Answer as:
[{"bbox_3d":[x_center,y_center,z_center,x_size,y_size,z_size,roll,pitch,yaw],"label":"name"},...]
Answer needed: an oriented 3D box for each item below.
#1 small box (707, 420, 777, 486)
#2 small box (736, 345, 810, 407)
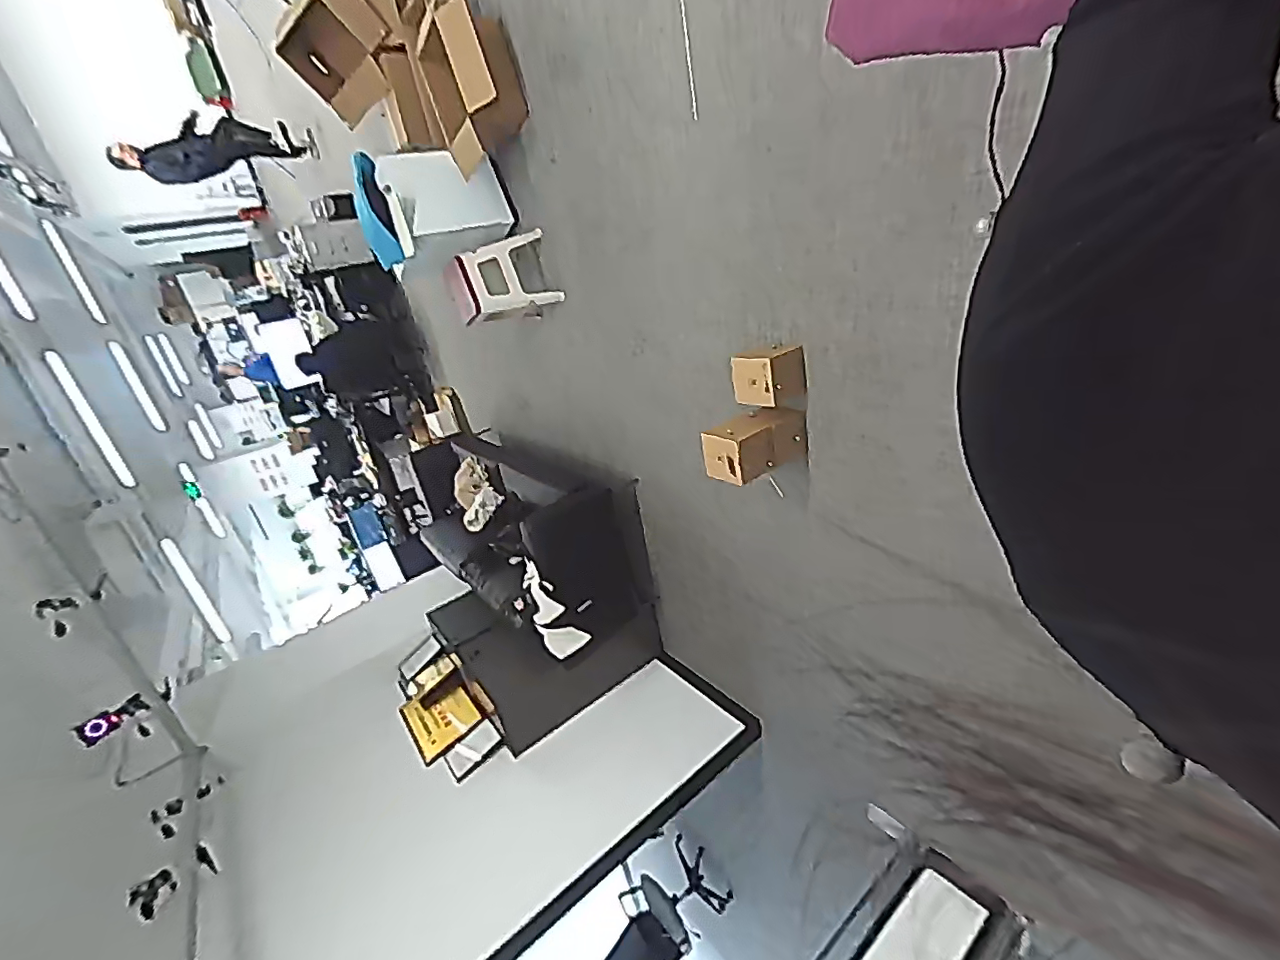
[{"bbox_3d":[0.361,-0.099,1.878,0.179,0.176,0.168,21,129,51],"label":"small box"},{"bbox_3d":[0.459,-0.360,1.856,0.179,0.176,0.168,19,128,52],"label":"small box"}]
